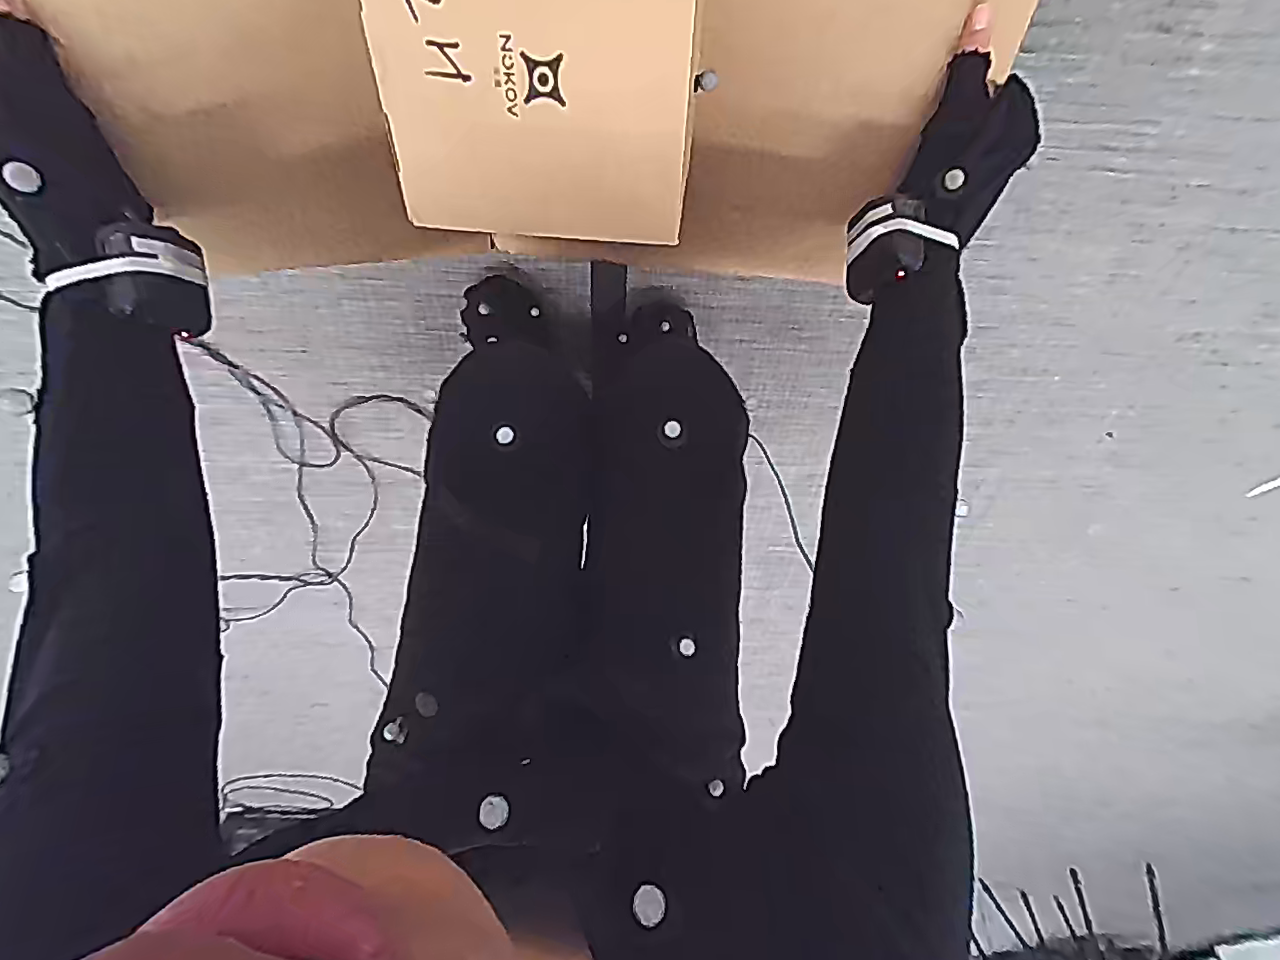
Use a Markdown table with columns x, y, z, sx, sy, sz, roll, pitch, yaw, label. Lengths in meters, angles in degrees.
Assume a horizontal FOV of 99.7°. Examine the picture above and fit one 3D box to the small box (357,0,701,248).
| x | y | z | sx | sy | sz | roll | pitch | yaw | label |
| --- | --- | --- | --- | --- | --- | --- | --- | --- | --- |
| -0.052 | -0.269 | 0.350 | 0.179 | 0.176 | 0.168 | 6 | 132 | 3 | small box |
